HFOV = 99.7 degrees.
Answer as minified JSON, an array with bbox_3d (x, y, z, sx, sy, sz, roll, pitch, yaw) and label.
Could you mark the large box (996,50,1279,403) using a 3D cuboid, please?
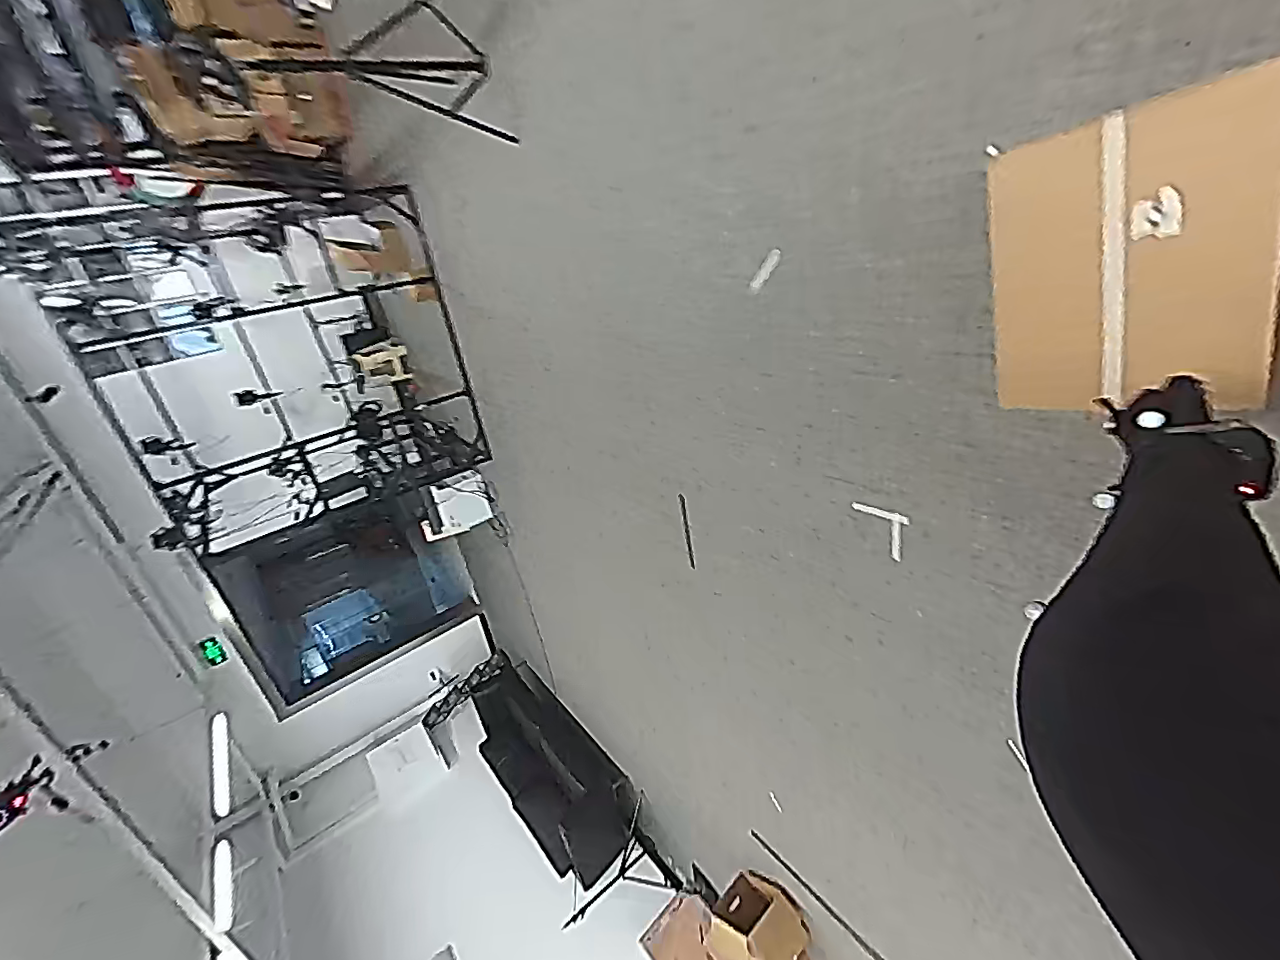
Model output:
[{"bbox_3d":[0.801,-0.355,0.834,0.320,0.320,0.408,10,120,55],"label":"large box"}]
